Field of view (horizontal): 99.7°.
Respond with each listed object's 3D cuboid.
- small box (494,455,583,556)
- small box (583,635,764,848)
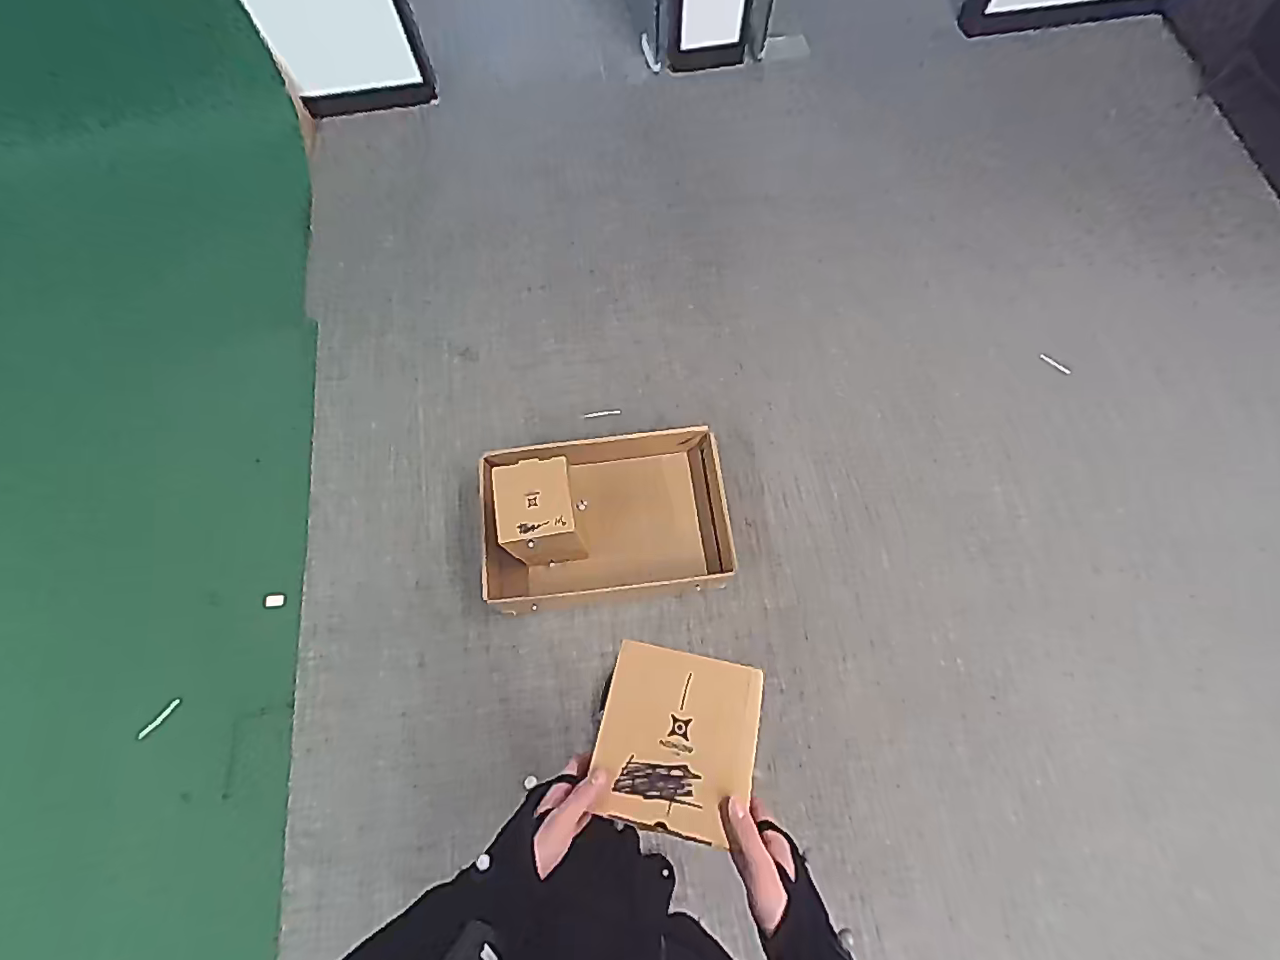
[{"bbox_3d":[-0.229,0.062,1.235,0.168,0.176,0.179,-9,71,-2],"label":"small box"},{"bbox_3d":[0.045,0.307,0.639,0.168,0.176,0.179,10,59,9],"label":"small box"}]
